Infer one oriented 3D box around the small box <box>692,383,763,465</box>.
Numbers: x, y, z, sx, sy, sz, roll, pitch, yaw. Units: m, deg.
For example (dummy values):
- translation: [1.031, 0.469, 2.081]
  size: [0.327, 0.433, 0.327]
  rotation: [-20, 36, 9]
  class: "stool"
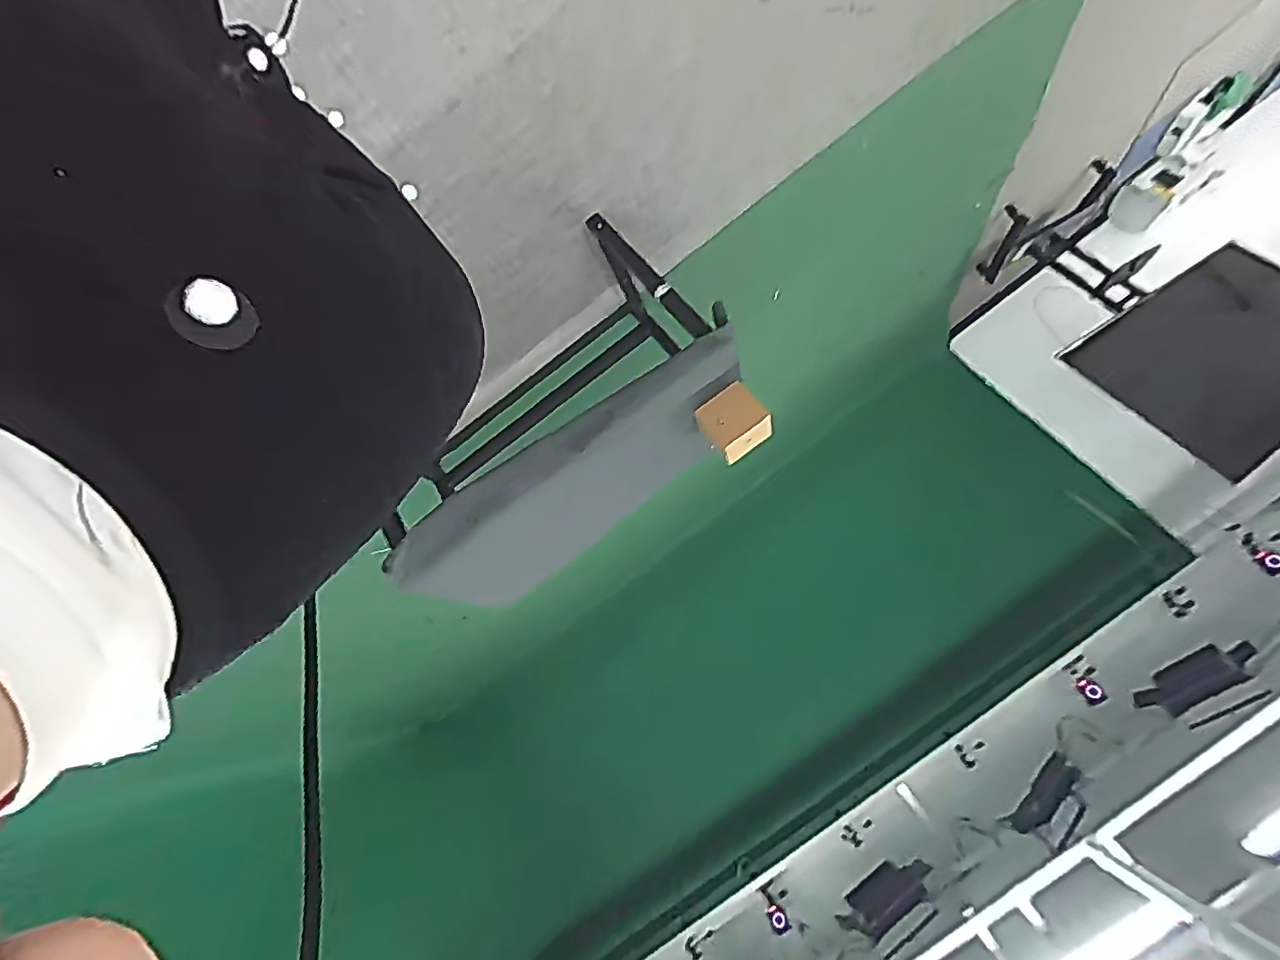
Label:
- translation: [0.285, -0.184, 1.790]
  size: [0.179, 0.176, 0.168]
  rotation: [-36, 159, -2]
  class: "small box"
